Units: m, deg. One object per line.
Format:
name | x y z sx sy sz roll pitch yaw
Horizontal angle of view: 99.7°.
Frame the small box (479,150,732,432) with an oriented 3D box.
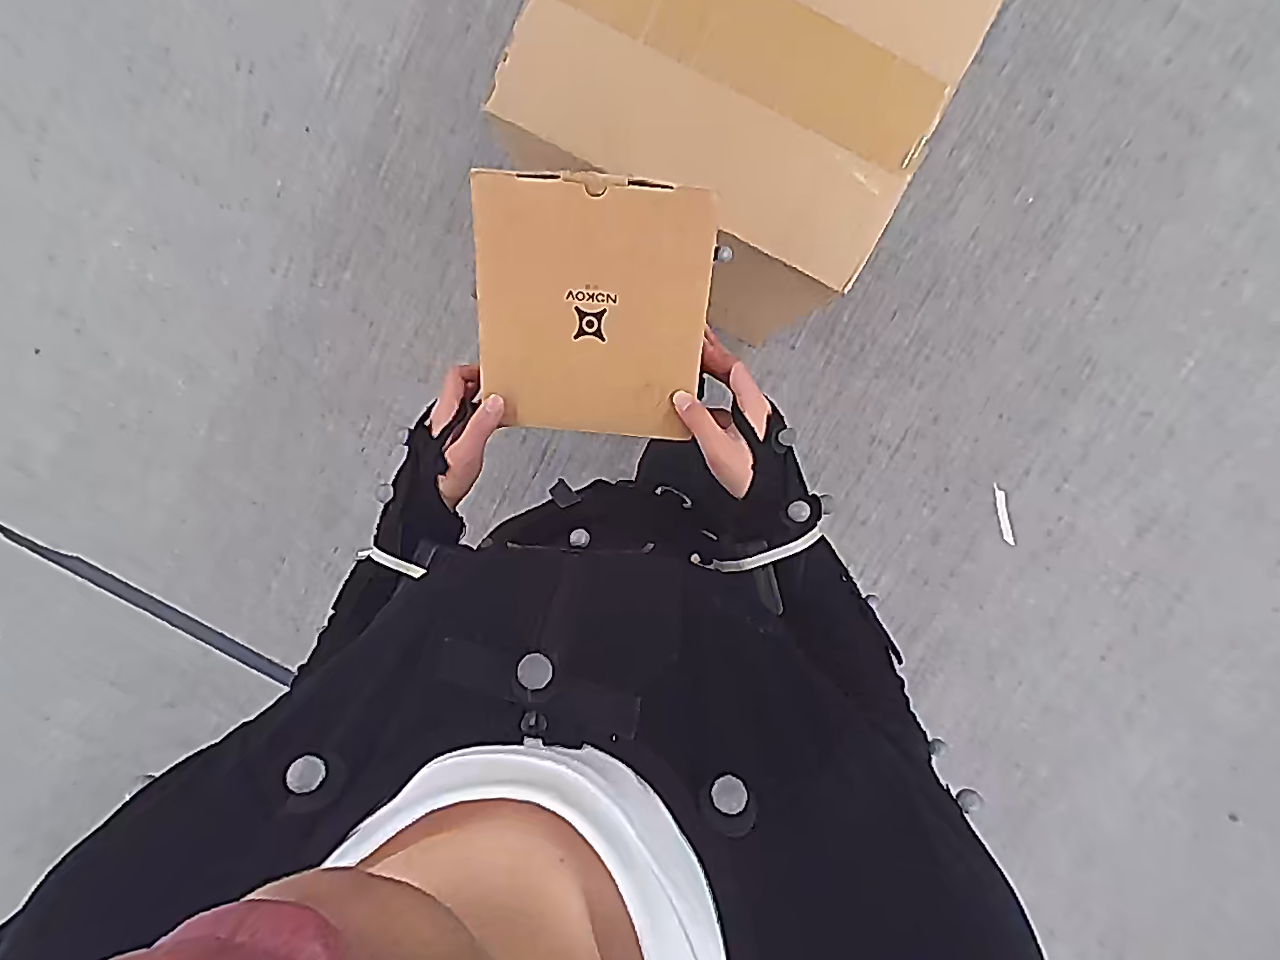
small box | -0.023 -0.154 0.448 0.168 0.176 0.179 5 113 1
